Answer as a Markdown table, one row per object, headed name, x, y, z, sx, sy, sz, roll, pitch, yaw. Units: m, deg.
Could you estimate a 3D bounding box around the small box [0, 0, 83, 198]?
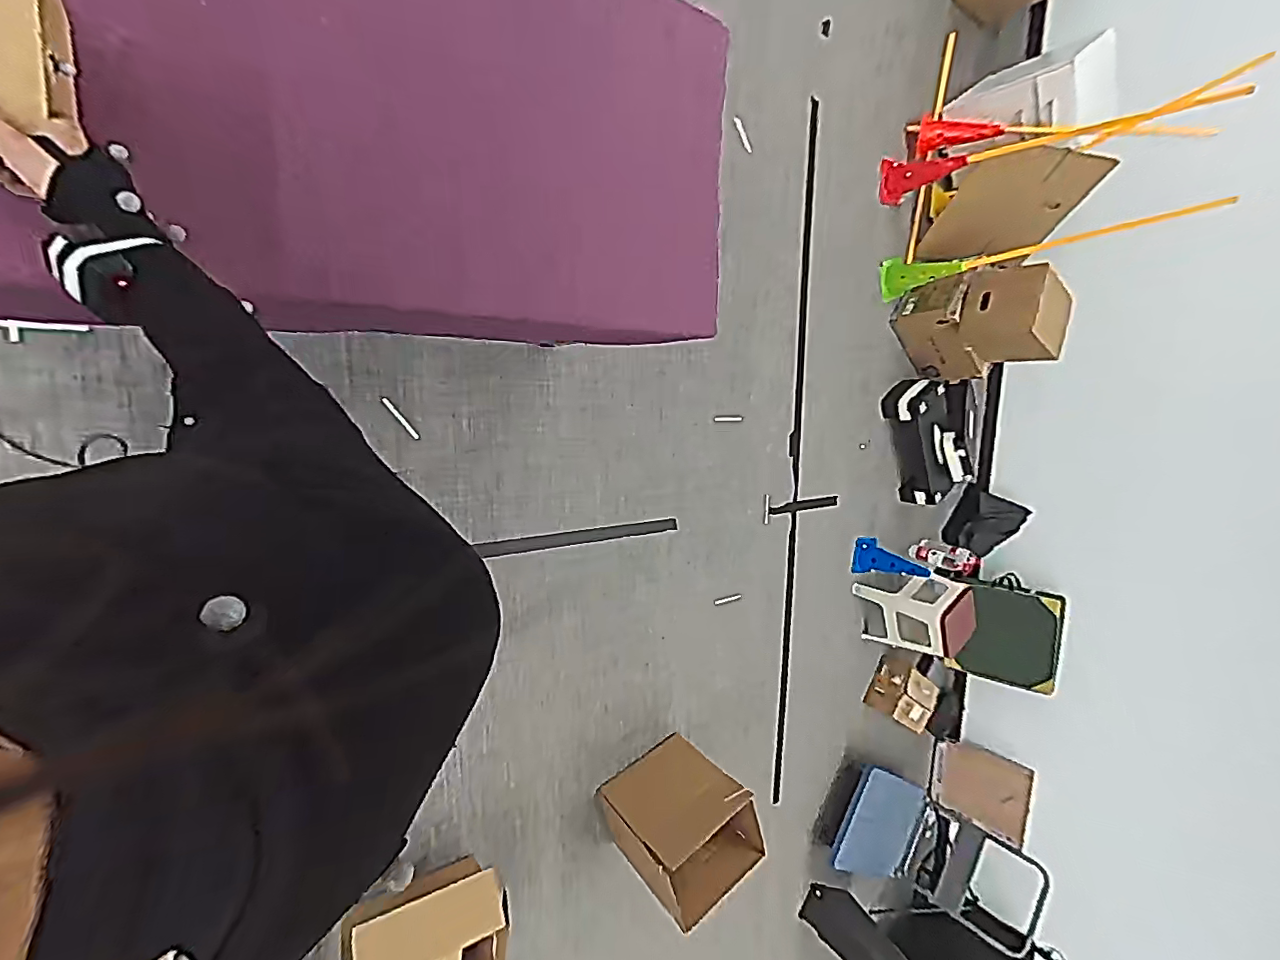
| name | x | y | z | sx | sy | sz | roll | pitch | yaw |
| --- | --- | --- | --- | --- | --- | --- | --- | --- | --- |
| small box | -0.605 | -0.365 | 0.457 | 0.168 | 0.176 | 0.179 | -4 | 101 | -39 |
